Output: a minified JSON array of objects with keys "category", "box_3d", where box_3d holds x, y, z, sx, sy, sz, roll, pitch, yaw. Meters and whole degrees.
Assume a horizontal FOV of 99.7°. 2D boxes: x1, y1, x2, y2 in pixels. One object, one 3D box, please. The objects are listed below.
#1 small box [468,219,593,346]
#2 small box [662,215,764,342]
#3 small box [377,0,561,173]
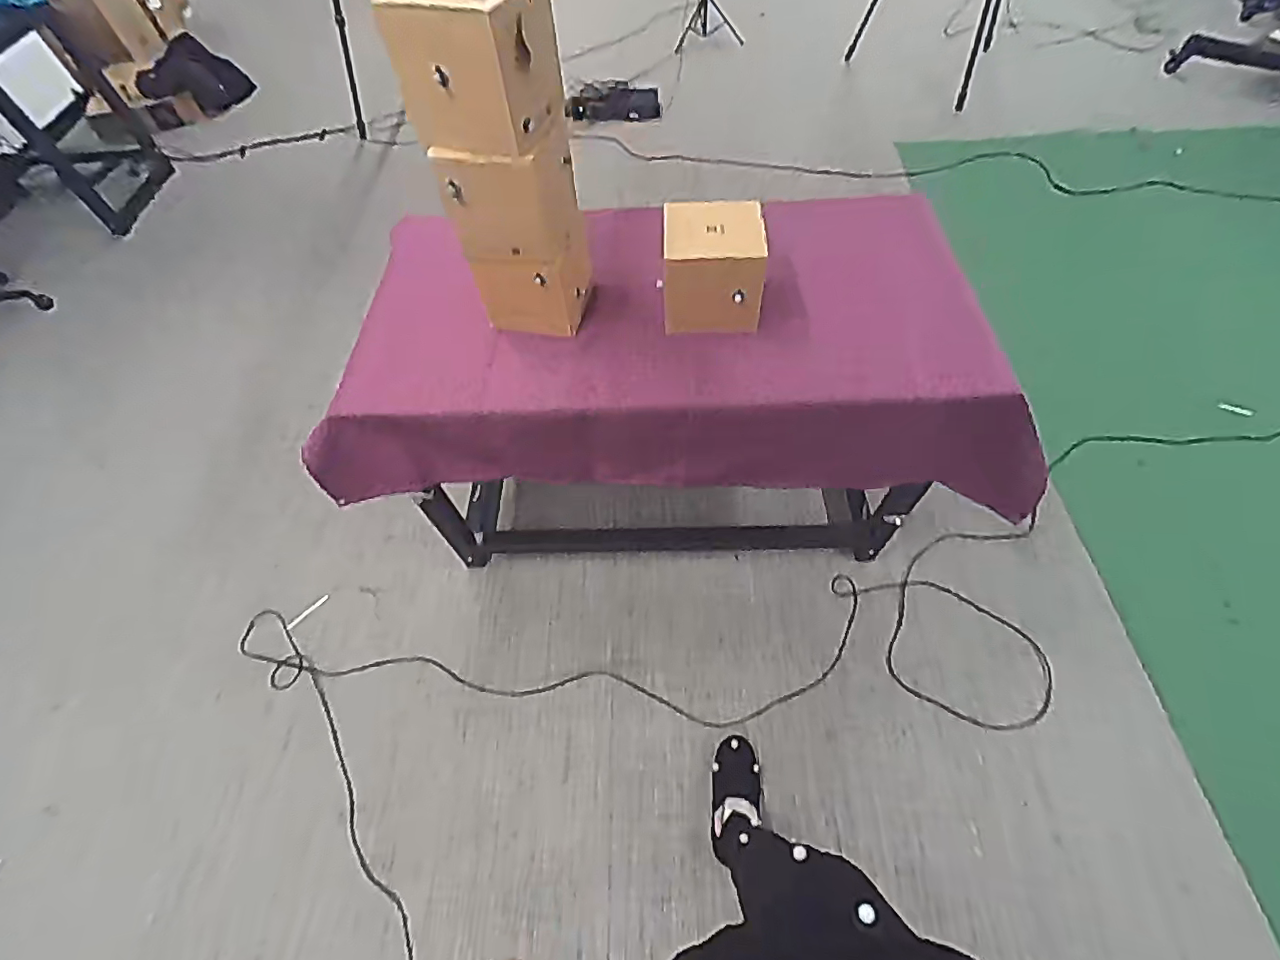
[{"category":"small box","box_3d":[-0.201,-0.381,1.053,0.179,0.176,0.168,8,57,8]},{"category":"small box","box_3d":[0.131,-0.378,1.028,0.179,0.176,0.168,0,55,4]},{"category":"small box","box_3d":[-0.231,-0.576,0.789,0.179,0.176,0.168,14,57,13]}]
